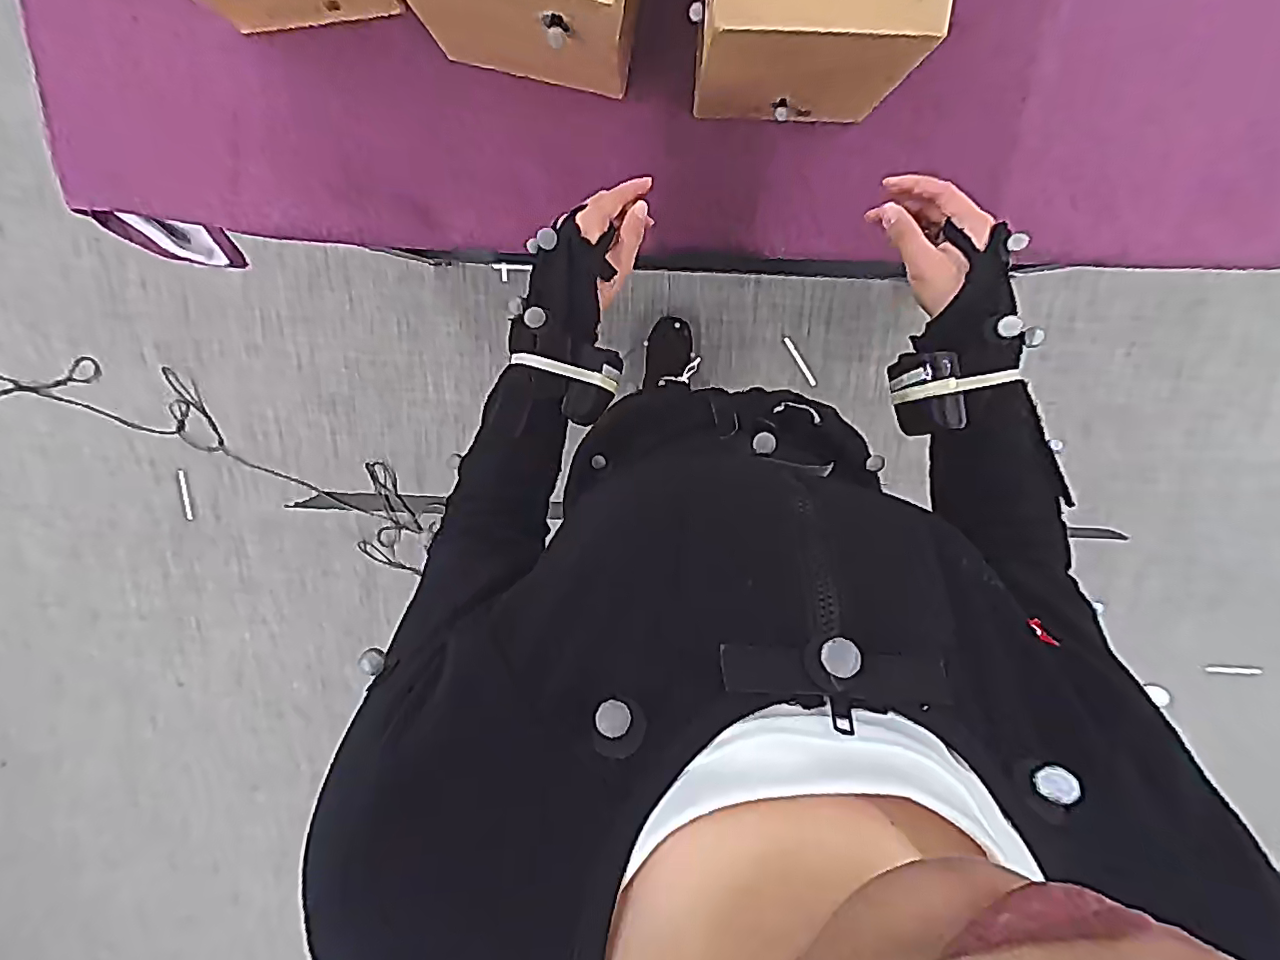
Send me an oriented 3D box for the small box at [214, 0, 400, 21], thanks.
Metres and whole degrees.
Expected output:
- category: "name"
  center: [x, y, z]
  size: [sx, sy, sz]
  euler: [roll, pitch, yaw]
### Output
- category: "small box"
  center: [-0.311, -0.498, 0.419]
  size: [0.168, 0.176, 0.179]
  euler: [-6, 107, 3]
